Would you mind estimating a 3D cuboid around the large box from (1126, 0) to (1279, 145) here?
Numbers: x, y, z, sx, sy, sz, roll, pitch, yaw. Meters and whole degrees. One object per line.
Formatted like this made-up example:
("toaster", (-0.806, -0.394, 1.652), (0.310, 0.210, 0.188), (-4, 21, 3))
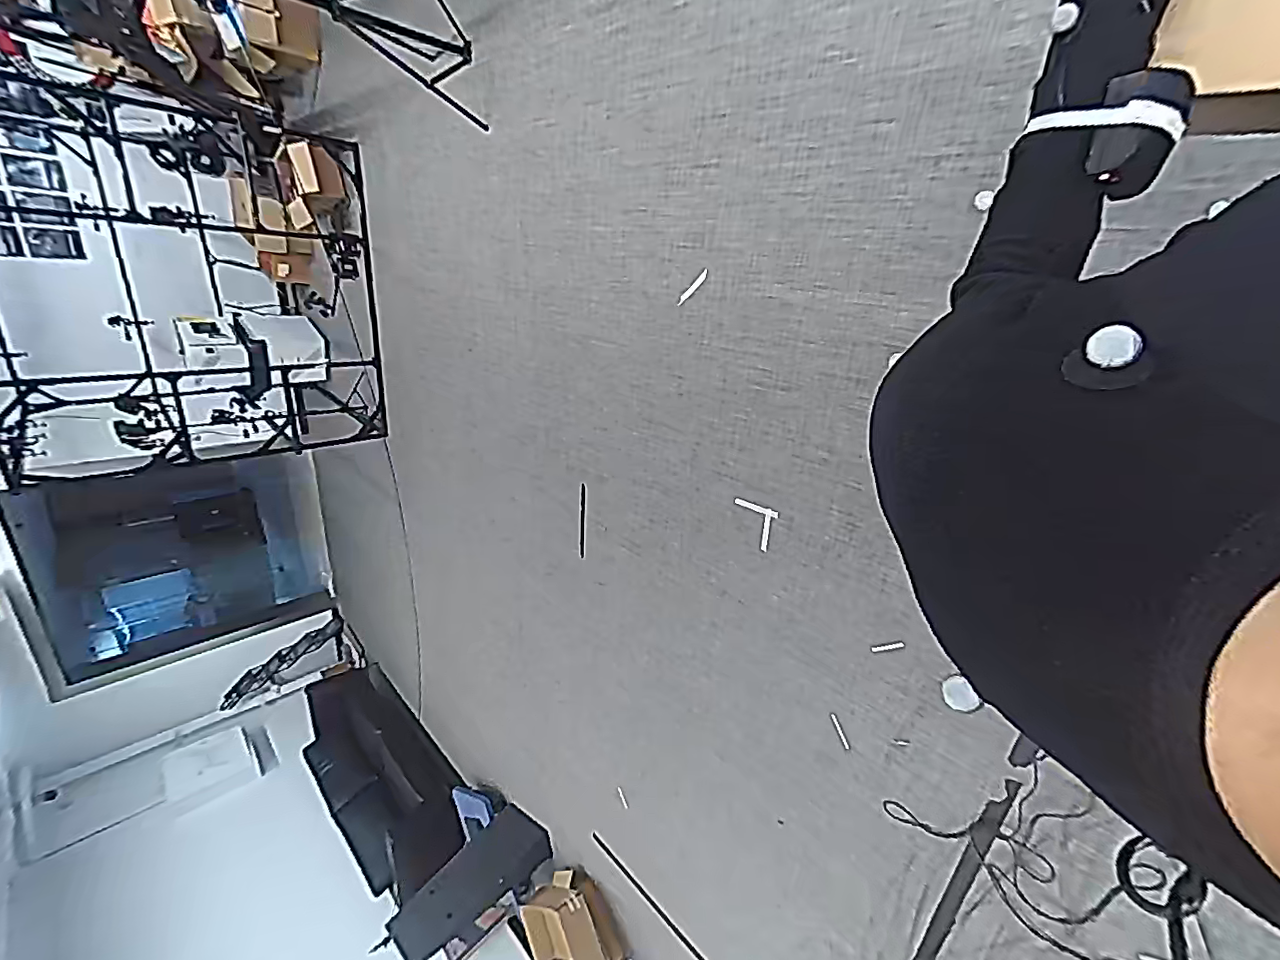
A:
("large box", (0.611, -0.398, 0.315), (0.408, 0.320, 0.320), (26, 127, 38))
